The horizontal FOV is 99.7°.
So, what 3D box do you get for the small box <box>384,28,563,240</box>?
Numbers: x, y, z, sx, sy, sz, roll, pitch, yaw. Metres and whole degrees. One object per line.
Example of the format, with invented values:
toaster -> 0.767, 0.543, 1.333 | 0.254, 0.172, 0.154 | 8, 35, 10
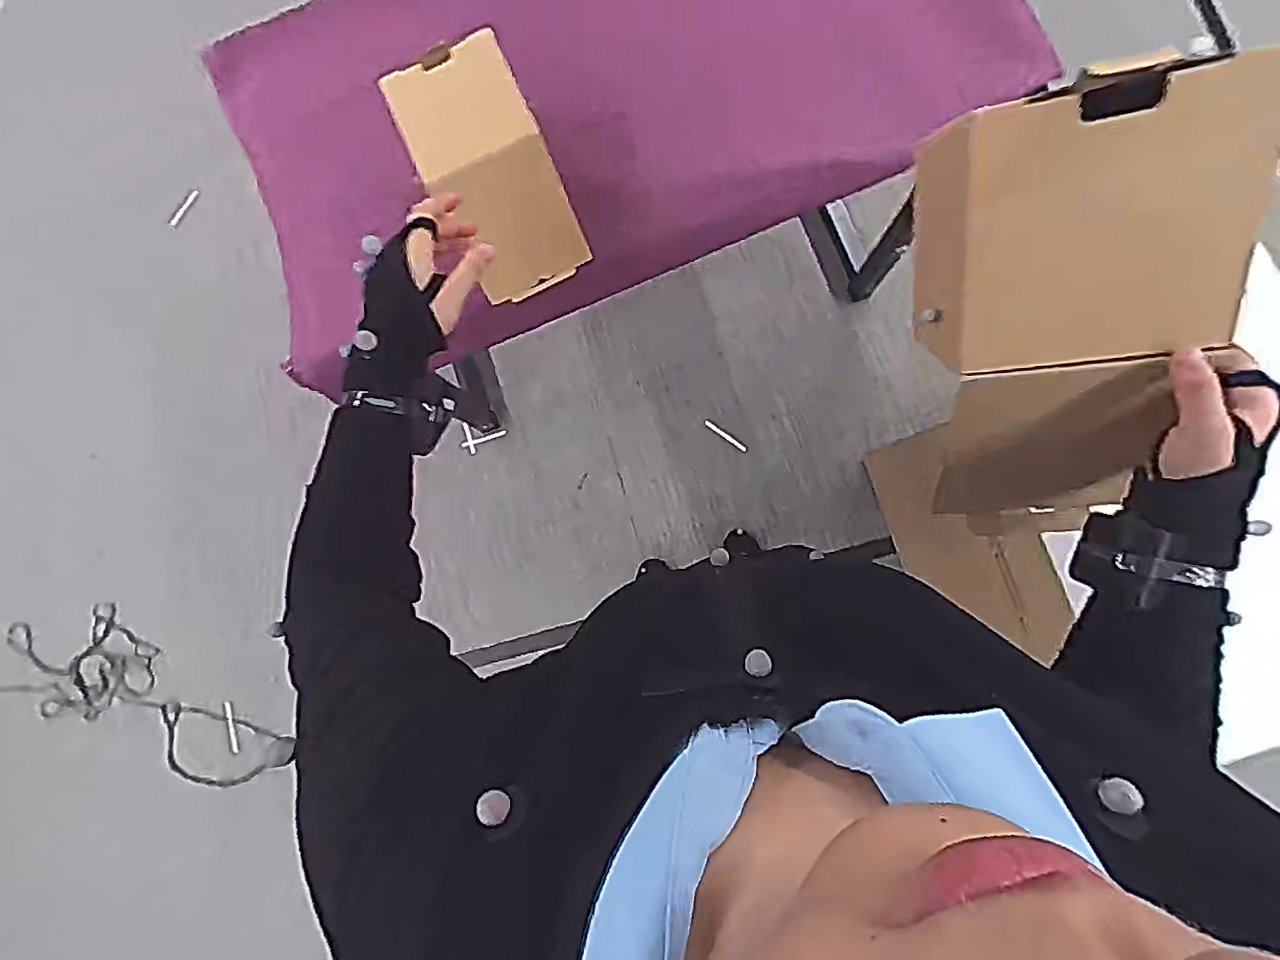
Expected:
small box -> -0.229, -0.484, 0.788 | 0.168, 0.176, 0.179 | -25, 81, 0
